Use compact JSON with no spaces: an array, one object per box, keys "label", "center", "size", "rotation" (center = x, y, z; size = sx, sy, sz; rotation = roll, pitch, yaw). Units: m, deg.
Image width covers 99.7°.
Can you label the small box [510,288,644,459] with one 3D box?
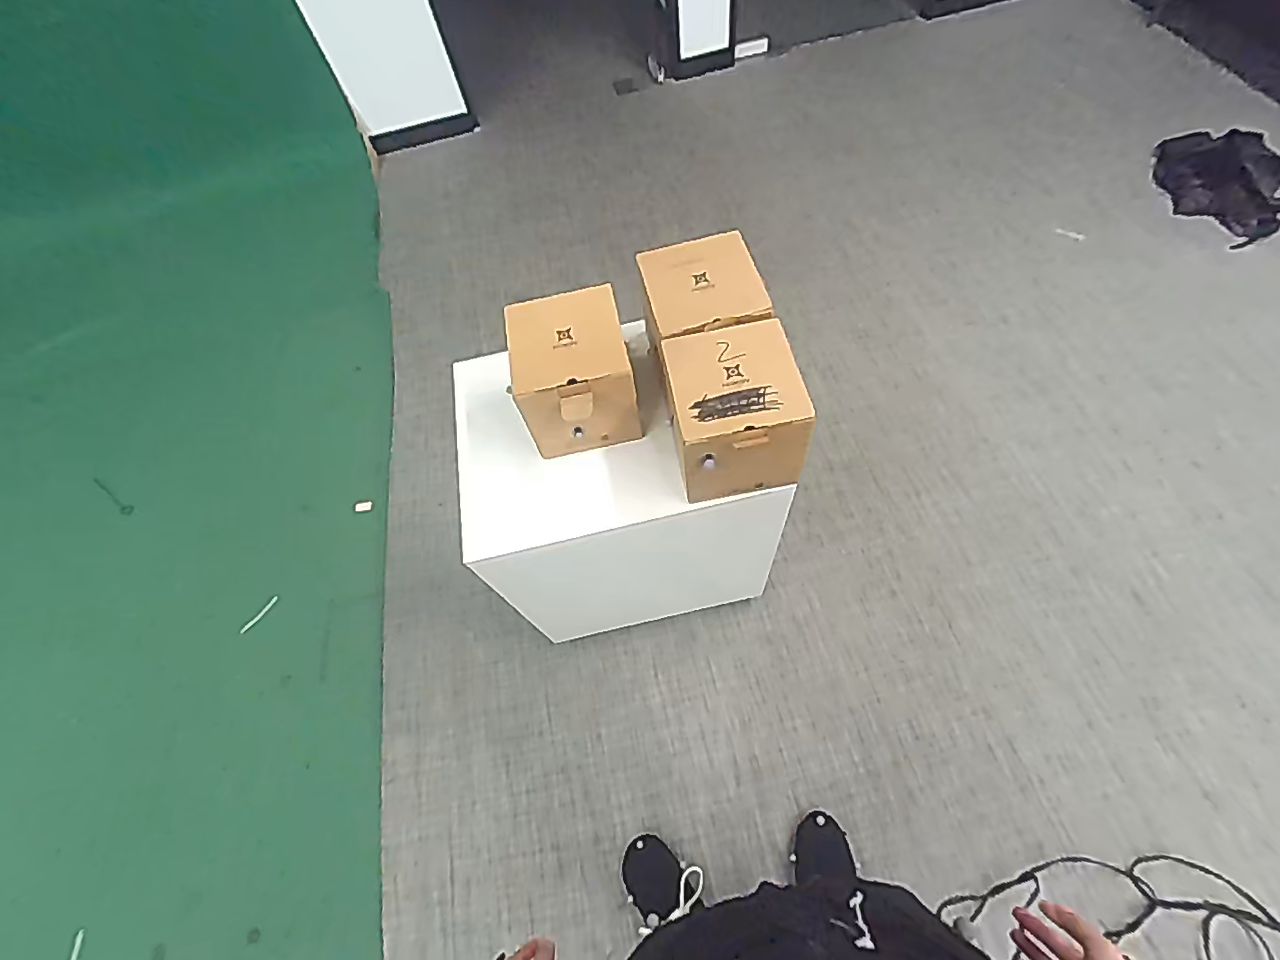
[{"label":"small box","center":[-0.093,-0.159,0.836],"size":[0.168,0.176,0.179],"rotation":[-13,61,0]}]
